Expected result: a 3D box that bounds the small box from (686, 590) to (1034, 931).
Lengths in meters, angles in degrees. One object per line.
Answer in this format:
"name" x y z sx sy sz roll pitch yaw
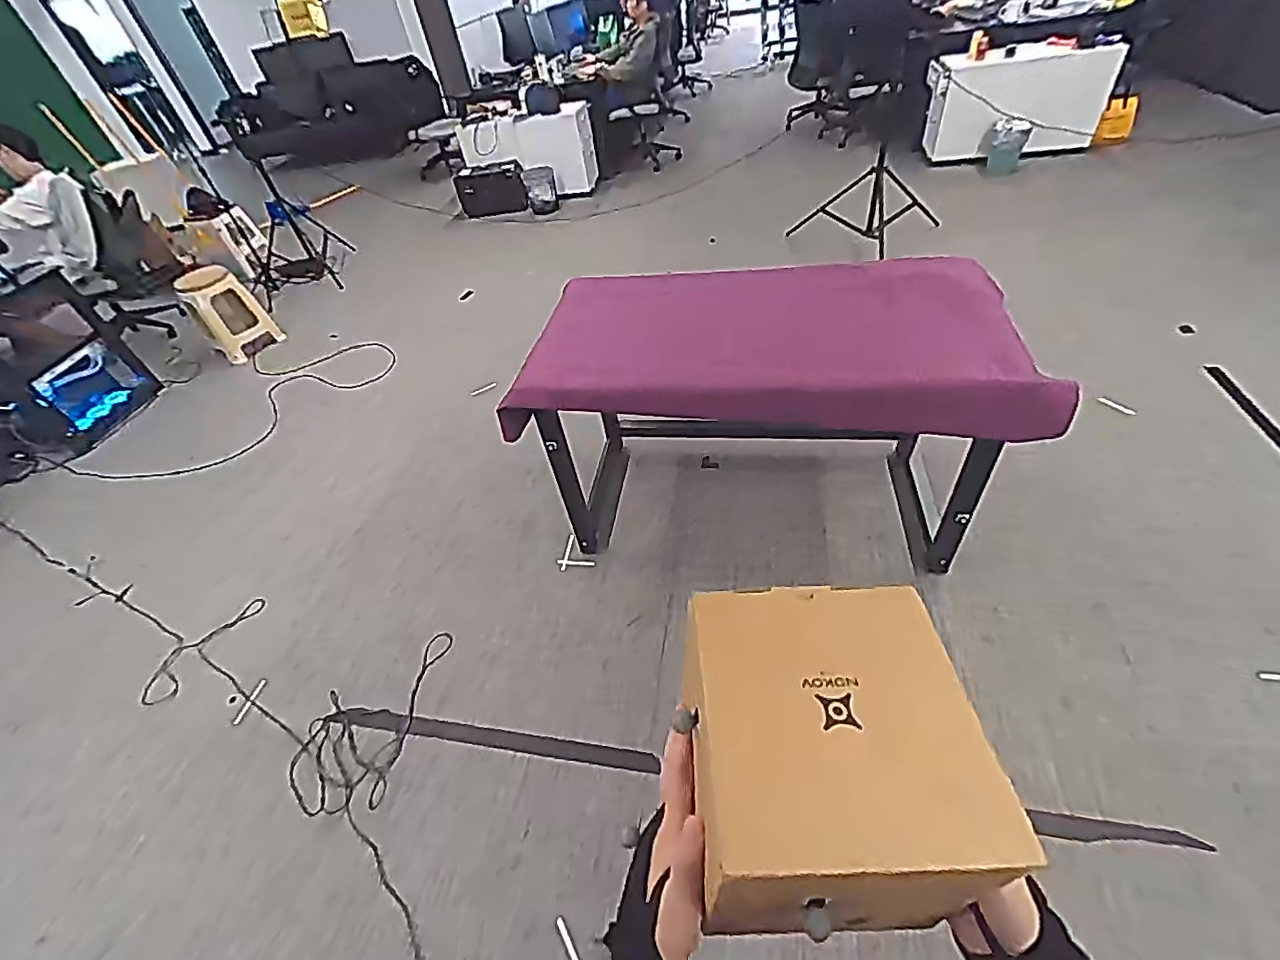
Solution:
"small box" 0.123 0.203 0.391 0.168 0.176 0.179 -2 41 -1
